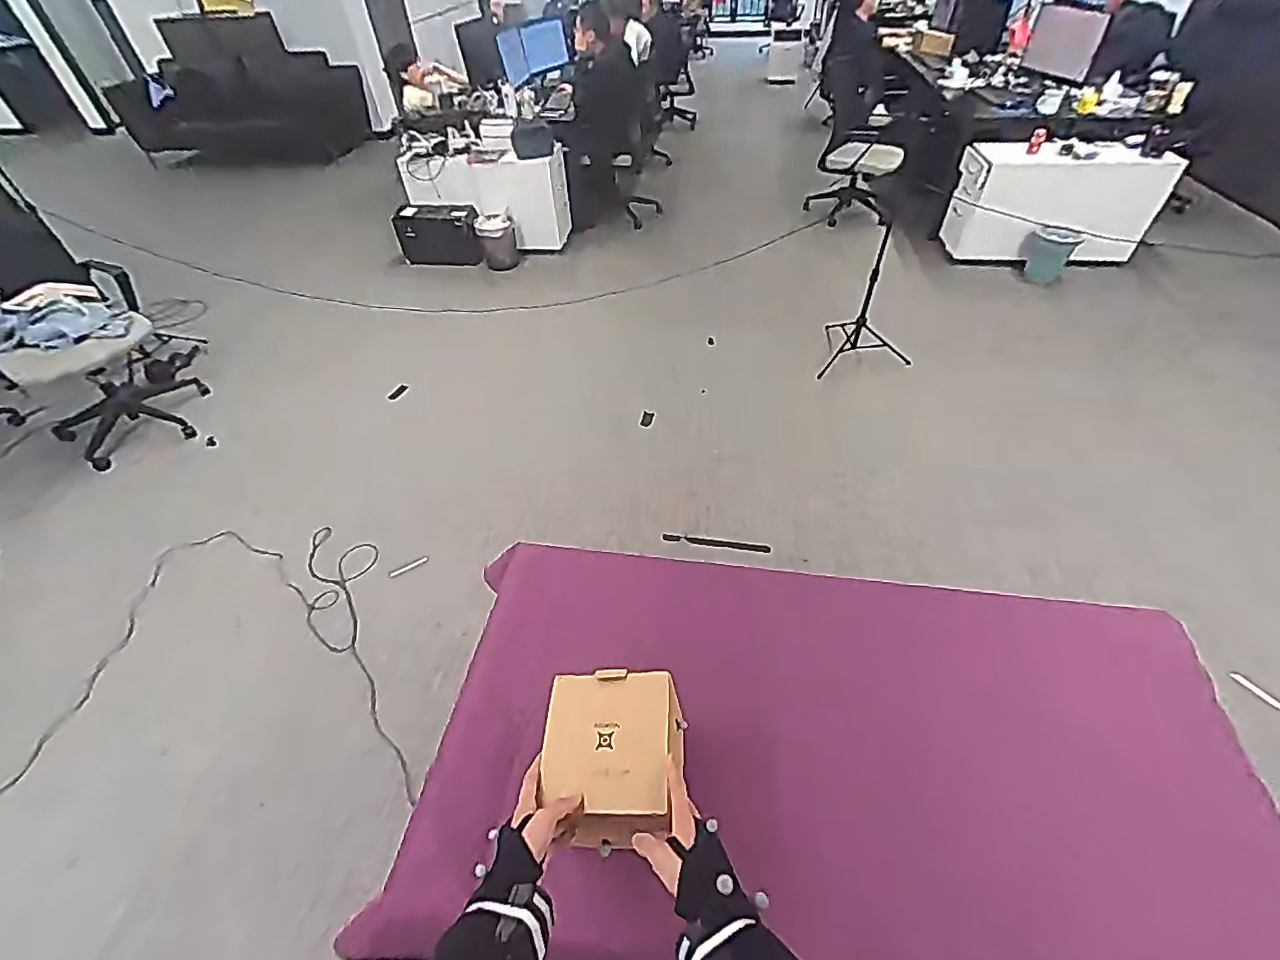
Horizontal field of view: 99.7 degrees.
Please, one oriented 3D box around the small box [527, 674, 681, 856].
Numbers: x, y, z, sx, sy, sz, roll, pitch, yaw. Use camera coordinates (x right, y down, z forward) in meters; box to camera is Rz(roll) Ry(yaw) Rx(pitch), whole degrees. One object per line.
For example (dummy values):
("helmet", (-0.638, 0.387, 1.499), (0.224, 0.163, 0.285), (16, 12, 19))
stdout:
("small box", (-0.036, 0.386, 0.737), (0.168, 0.176, 0.179), (-4, 44, 9))
